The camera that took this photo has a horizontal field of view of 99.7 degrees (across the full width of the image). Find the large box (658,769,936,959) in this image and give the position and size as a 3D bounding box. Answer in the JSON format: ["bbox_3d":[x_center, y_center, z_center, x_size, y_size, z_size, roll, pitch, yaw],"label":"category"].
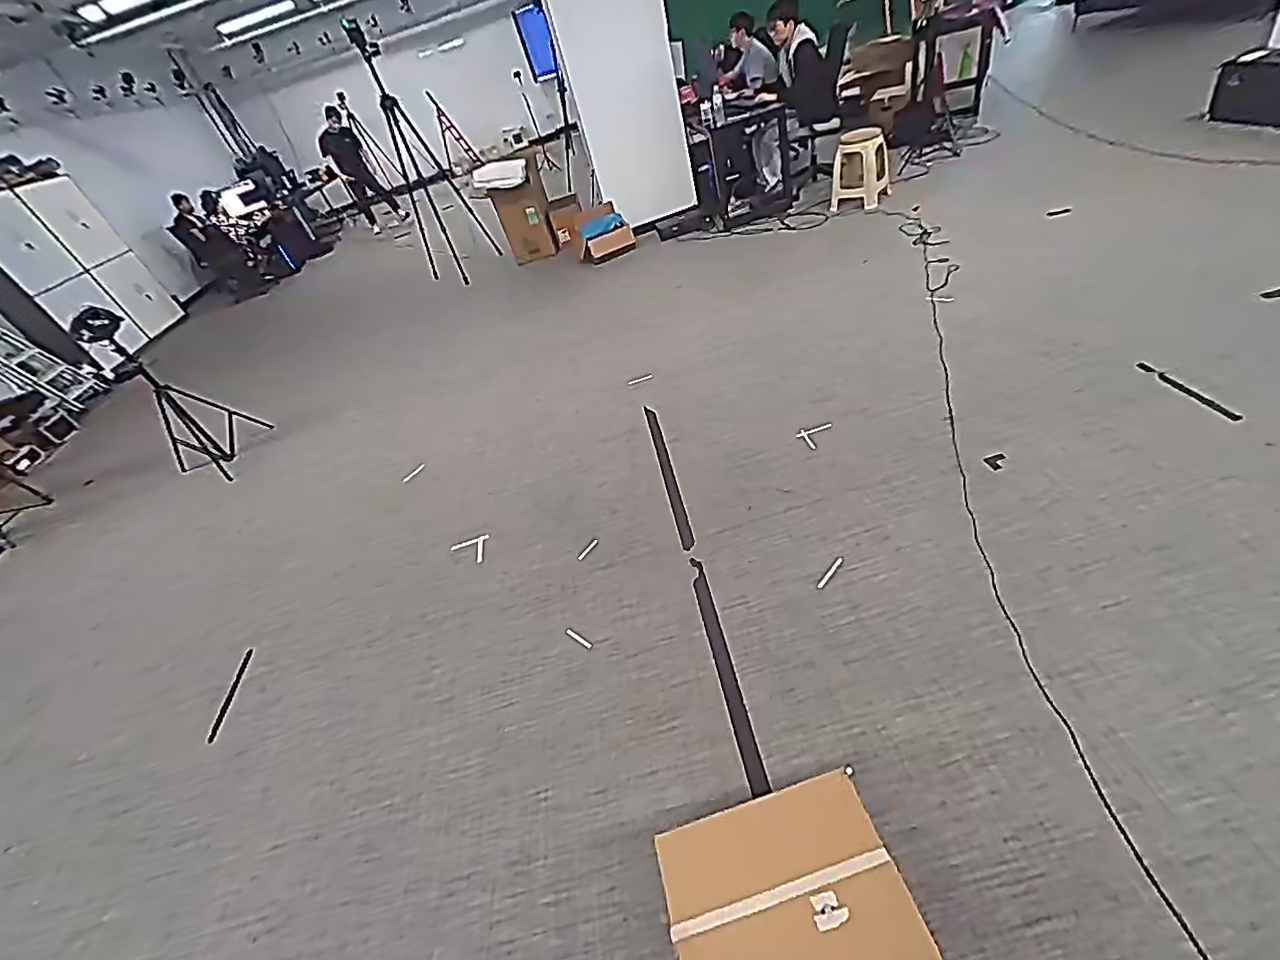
[{"bbox_3d":[0.291,0.848,1.057,0.408,0.320,0.320,-20,39,0],"label":"large box"}]
